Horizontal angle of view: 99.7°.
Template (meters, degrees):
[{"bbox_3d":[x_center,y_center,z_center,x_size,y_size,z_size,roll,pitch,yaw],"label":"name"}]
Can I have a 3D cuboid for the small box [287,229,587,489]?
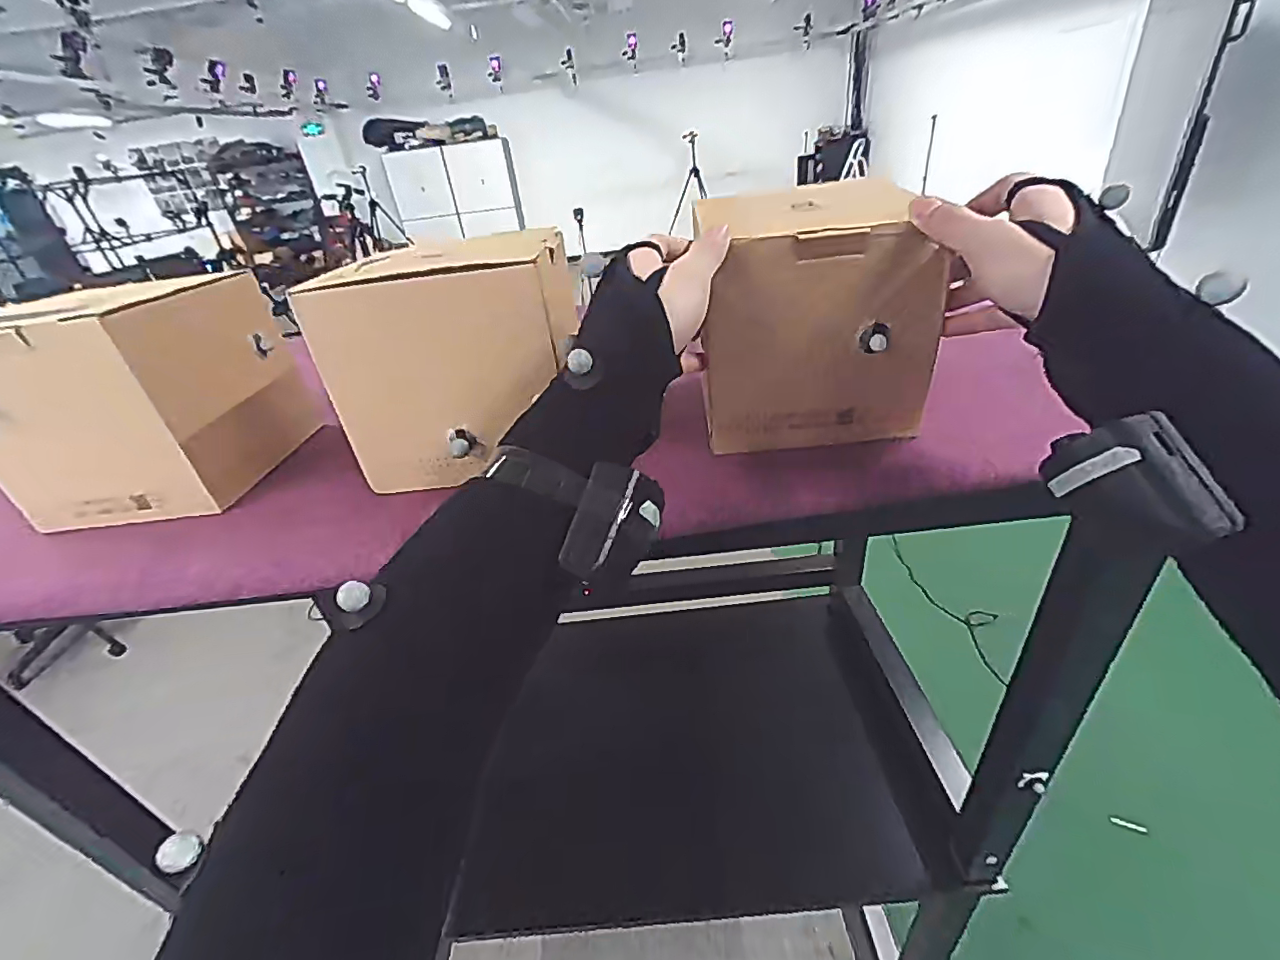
[{"bbox_3d":[-0.144,-0.107,0.466,0.179,0.176,0.168,-6,31,2],"label":"small box"}]
